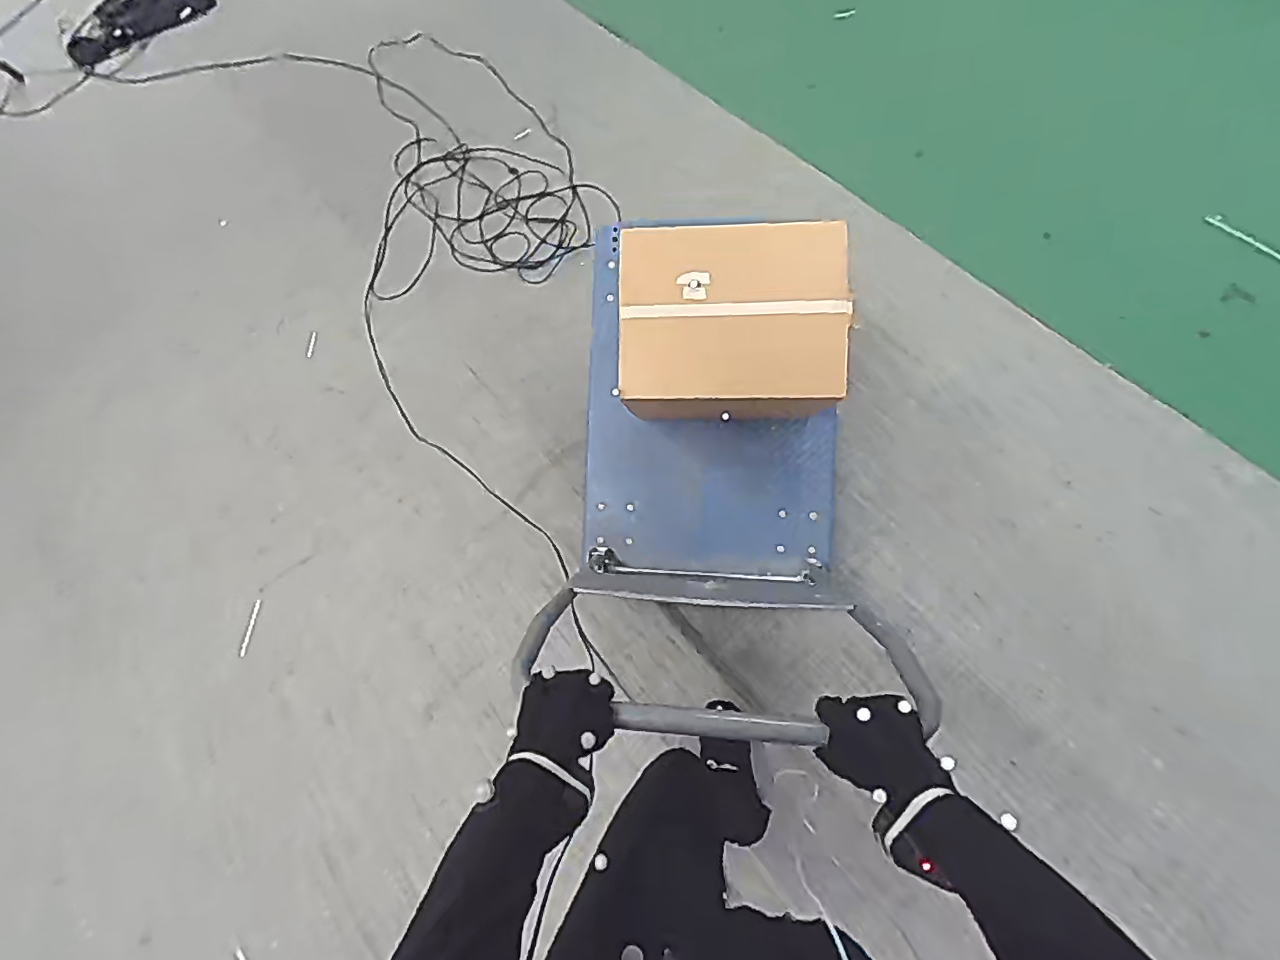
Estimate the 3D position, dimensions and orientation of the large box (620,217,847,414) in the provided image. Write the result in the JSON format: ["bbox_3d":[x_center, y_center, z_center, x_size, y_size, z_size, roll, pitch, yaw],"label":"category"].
[{"bbox_3d":[0.182,-0.303,1.107,0.408,0.320,0.320,0,90,7],"label":"large box"}]
